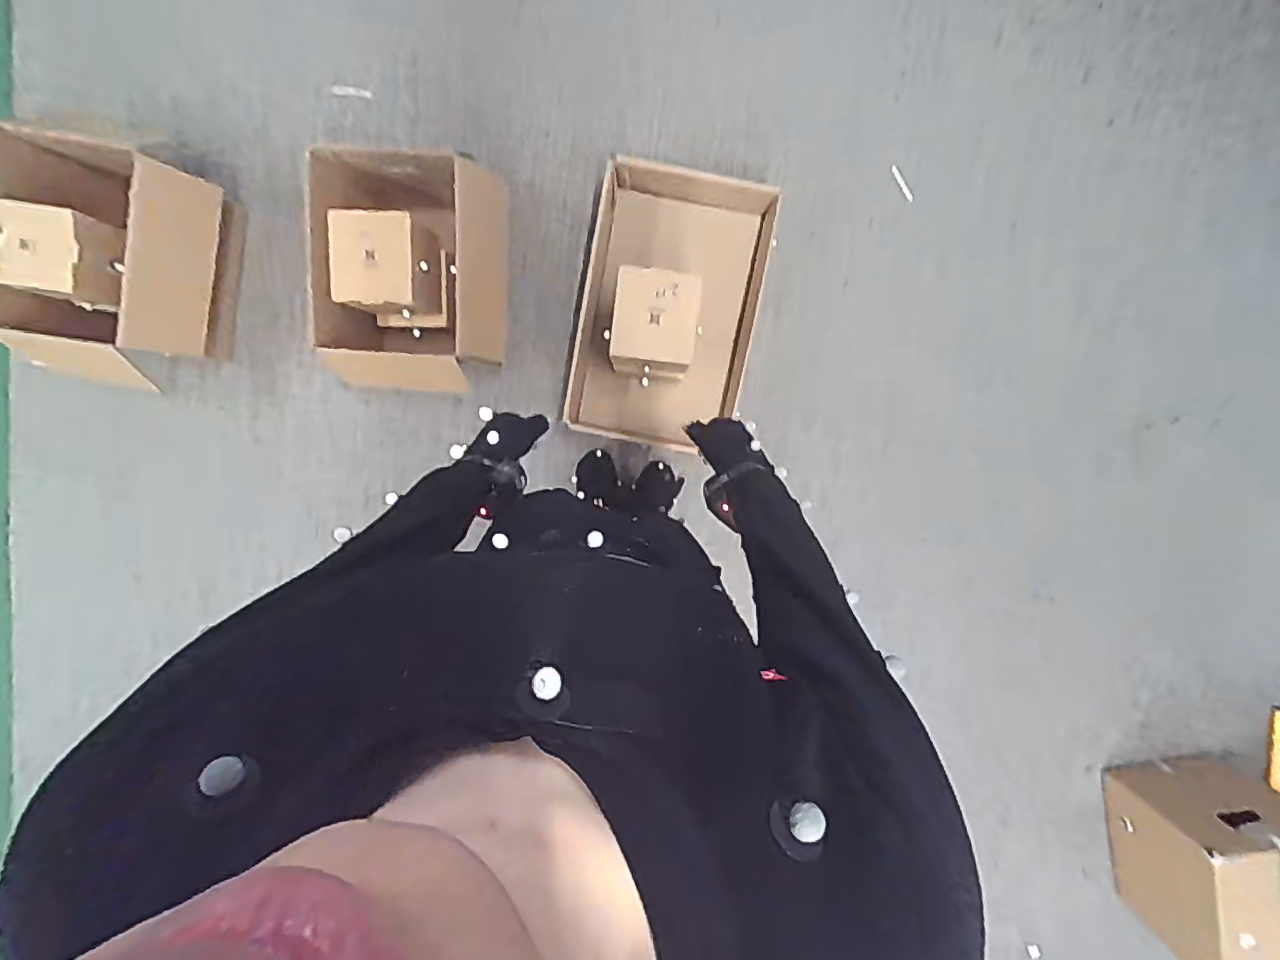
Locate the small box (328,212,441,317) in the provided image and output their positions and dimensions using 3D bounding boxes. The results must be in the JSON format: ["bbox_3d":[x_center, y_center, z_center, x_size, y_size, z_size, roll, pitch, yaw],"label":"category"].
[{"bbox_3d":[-0.535,-0.450,1.154,0.168,0.176,0.179,2,98,0],"label":"small box"}]

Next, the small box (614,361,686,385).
[{"bbox_3d":[0.033,-0.331,1.292,0.168,0.176,0.179,9,95,-1],"label":"small box"}]

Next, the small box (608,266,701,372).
[{"bbox_3d":[0.029,-0.325,1.127,0.168,0.176,0.179,6,95,-1],"label":"small box"}]
